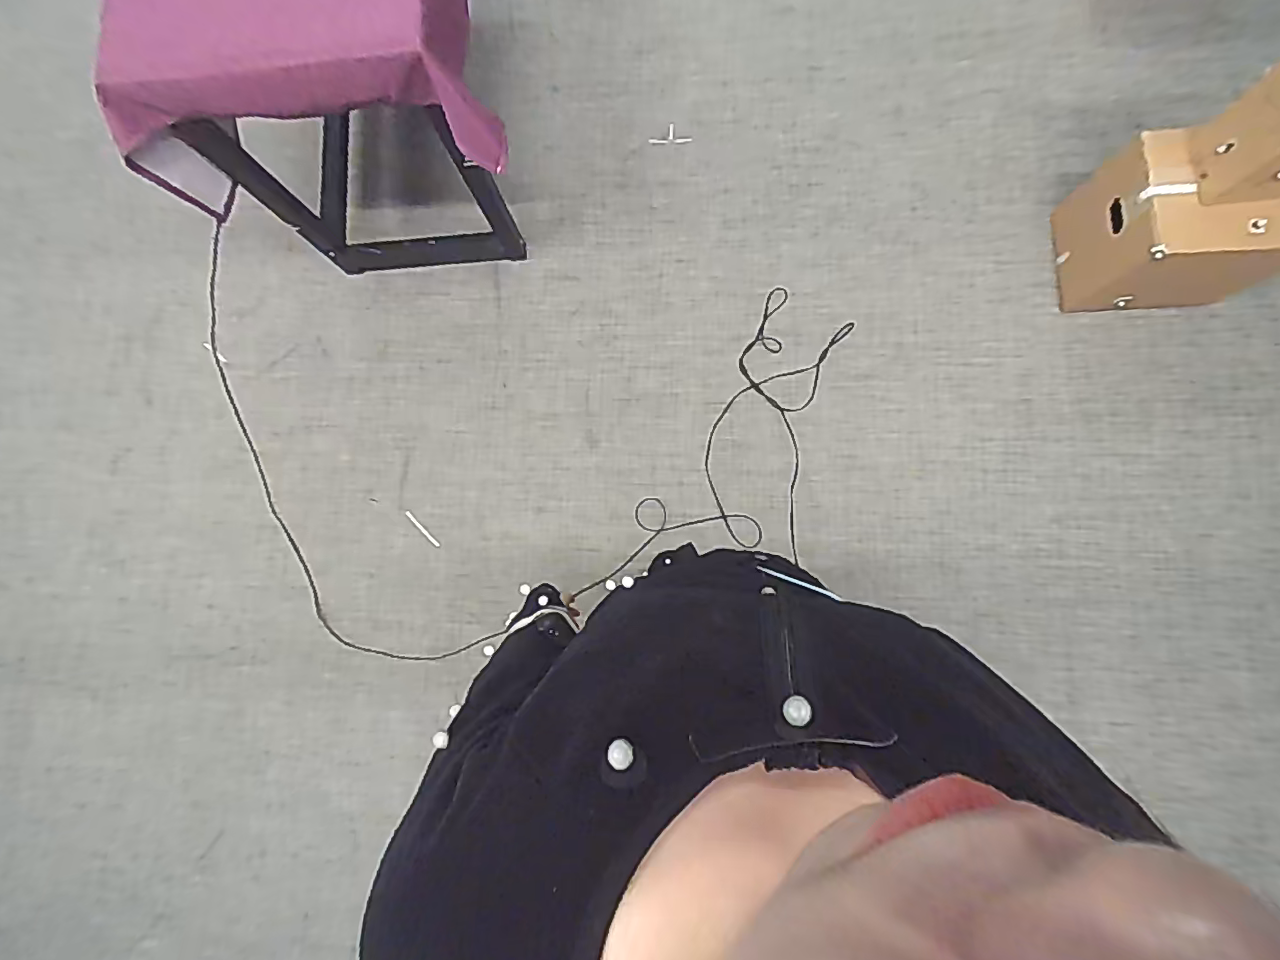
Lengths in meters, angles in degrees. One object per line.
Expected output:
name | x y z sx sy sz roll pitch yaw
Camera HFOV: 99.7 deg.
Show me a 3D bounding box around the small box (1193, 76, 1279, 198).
small box | 1.346 -0.731 1.154 0.179 0.176 0.168 -4 82 4
